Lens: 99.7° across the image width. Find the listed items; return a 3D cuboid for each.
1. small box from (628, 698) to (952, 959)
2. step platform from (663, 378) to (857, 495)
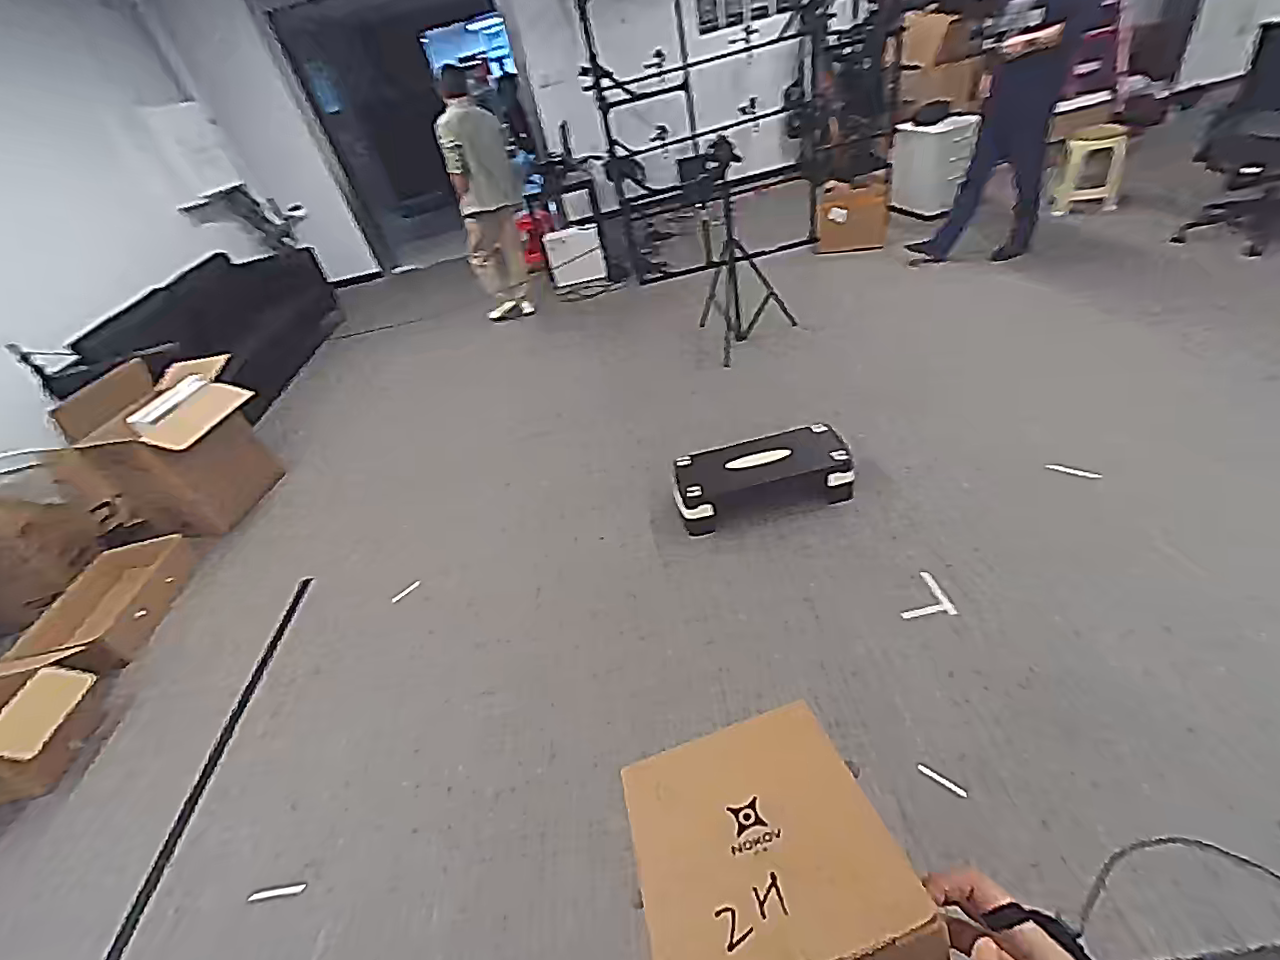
[{"bbox_3d":[0.100,0.307,0.401,0.168,0.176,0.179,-18,23,-3],"label":"small box"},{"bbox_3d":[0.436,-0.161,2.012,0.684,0.204,0.286,-13,38,1],"label":"step platform"}]
